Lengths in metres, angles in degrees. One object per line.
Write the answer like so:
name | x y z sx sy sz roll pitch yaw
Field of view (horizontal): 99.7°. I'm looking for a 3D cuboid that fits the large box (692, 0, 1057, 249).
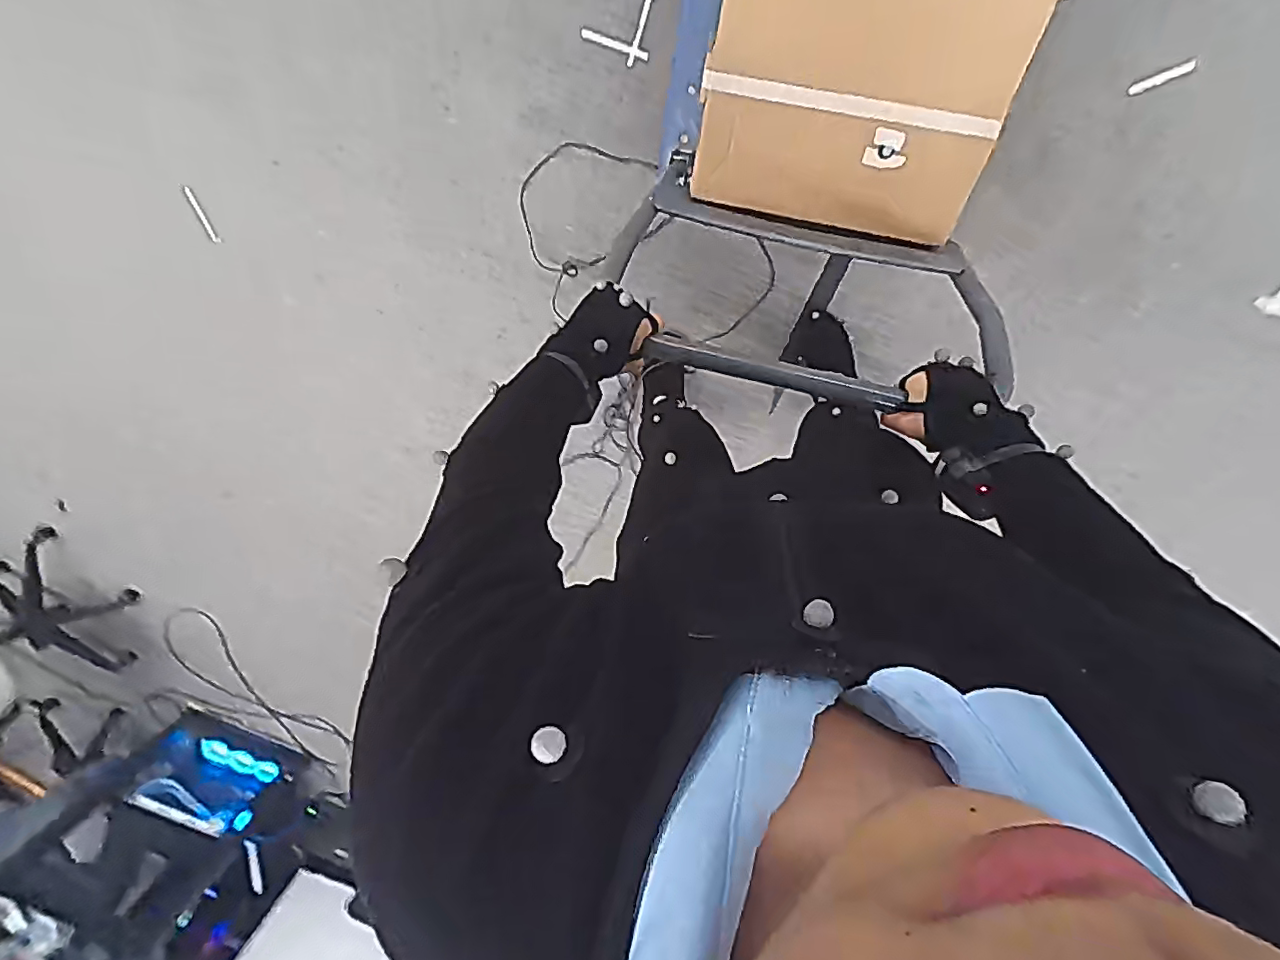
large box | 0.317 -0.600 0.864 0.408 0.320 0.320 13 130 4
